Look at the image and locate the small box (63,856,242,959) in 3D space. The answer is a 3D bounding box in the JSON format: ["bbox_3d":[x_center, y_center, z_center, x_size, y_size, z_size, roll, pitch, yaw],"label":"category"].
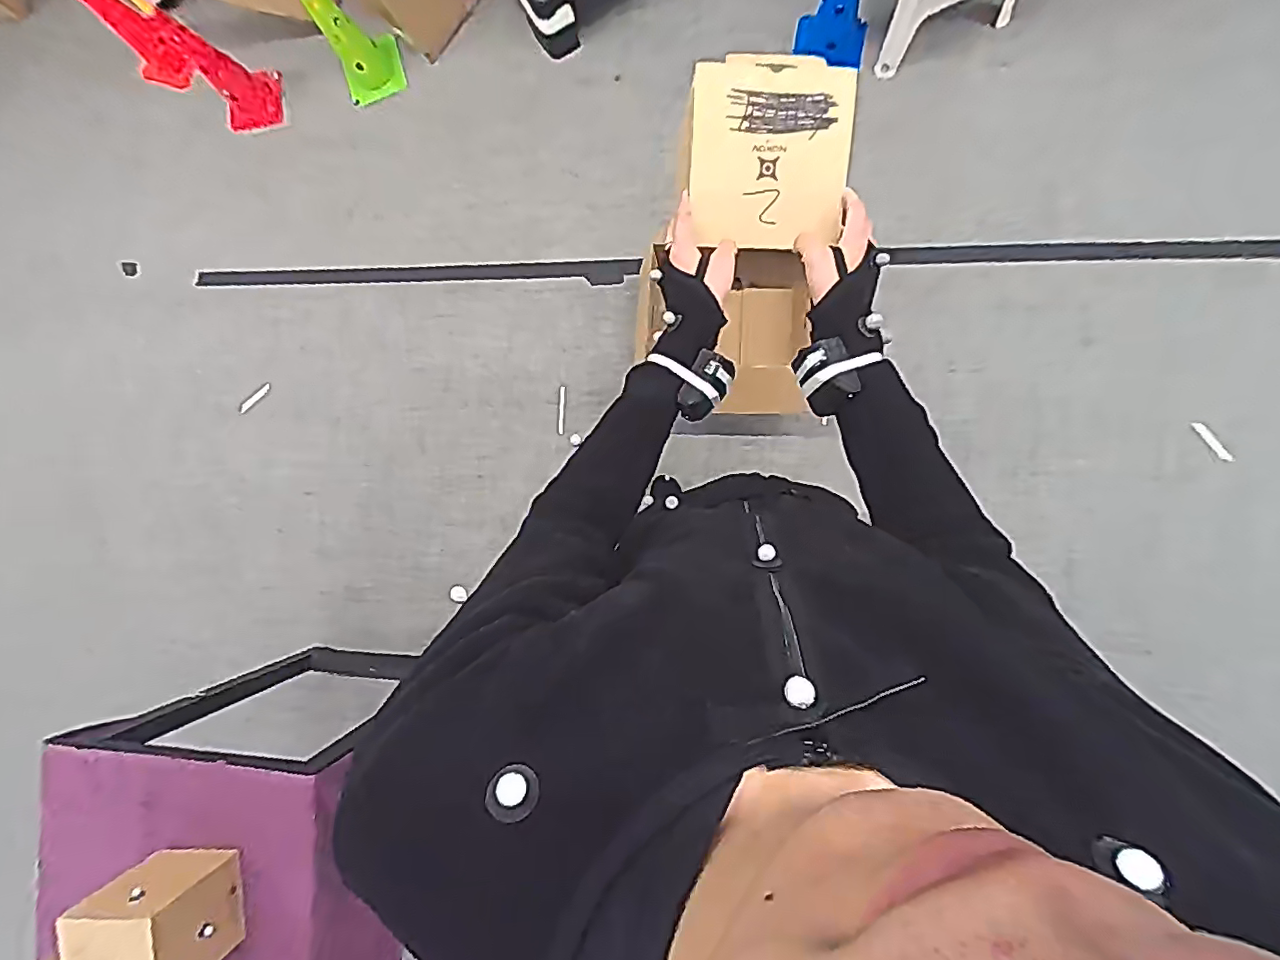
[{"bbox_3d":[-0.837,0.795,0.947,0.179,0.176,0.168,-5,88,8],"label":"small box"}]
